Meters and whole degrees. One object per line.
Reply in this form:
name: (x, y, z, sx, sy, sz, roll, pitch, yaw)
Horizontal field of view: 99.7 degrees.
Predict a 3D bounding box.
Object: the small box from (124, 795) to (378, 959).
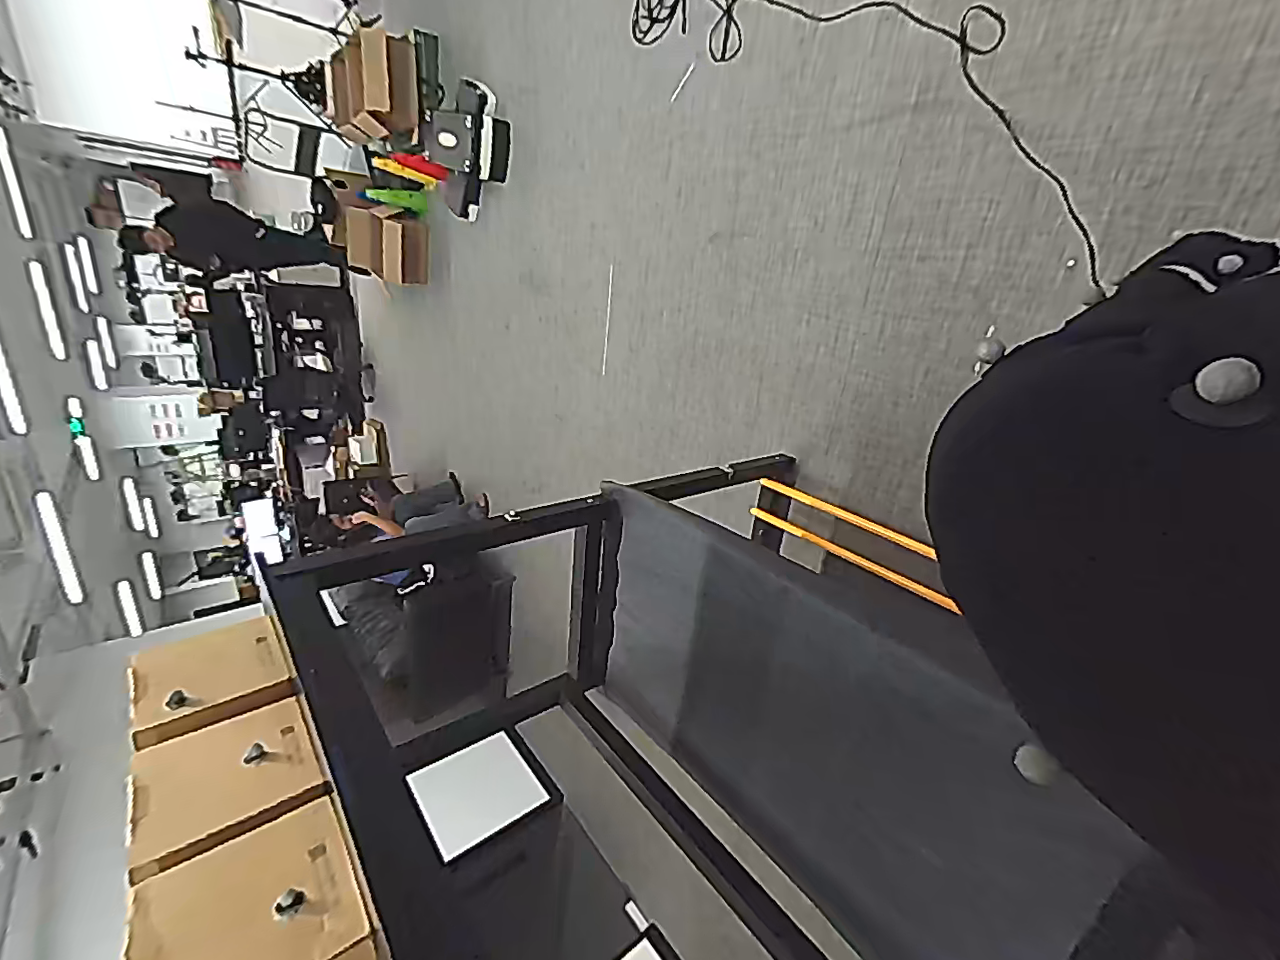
small box: (-0.354, 0.452, 0.510, 0.168, 0.176, 0.179, 28, 119, 45)
